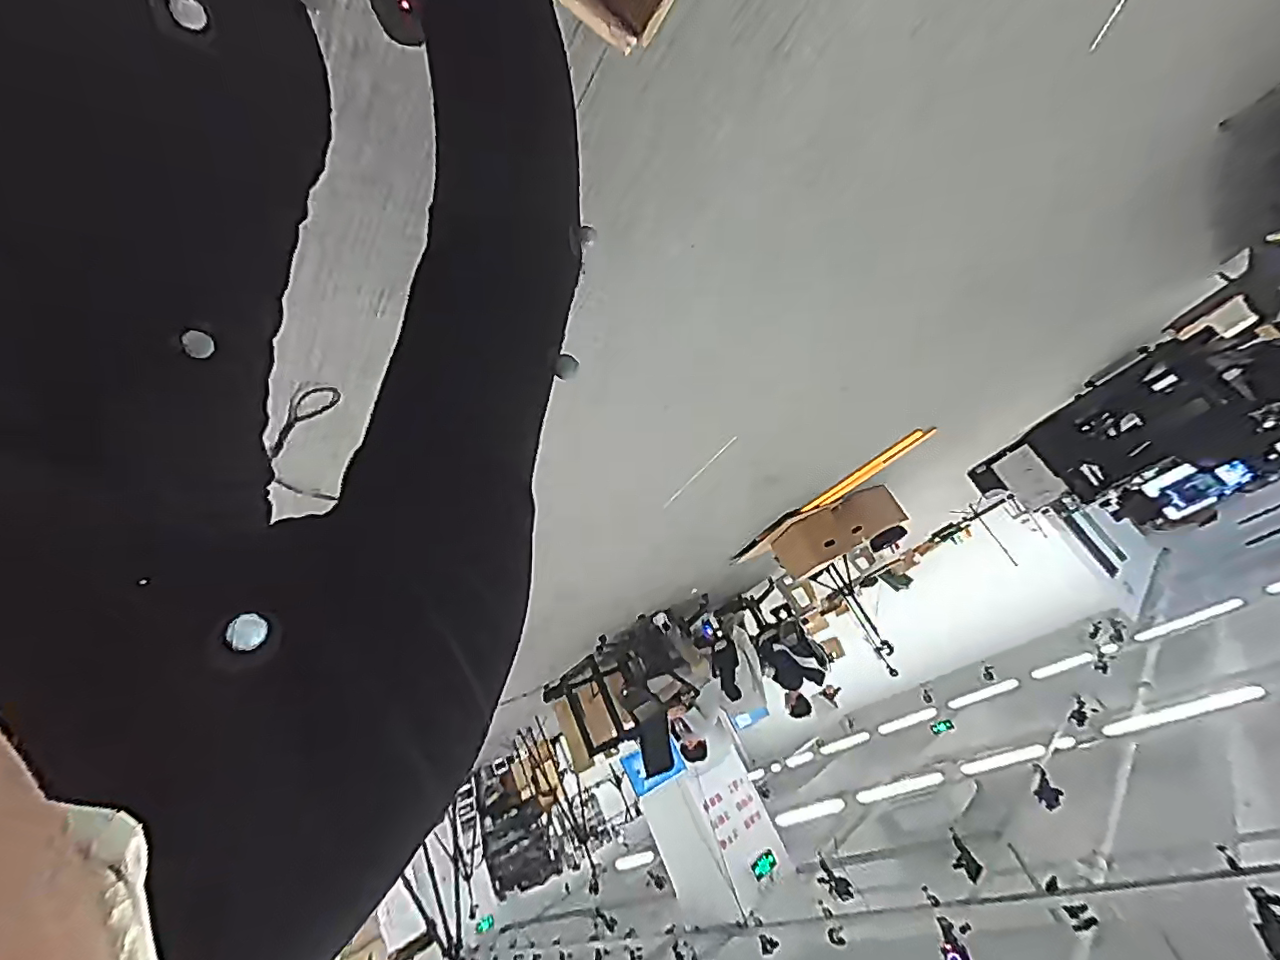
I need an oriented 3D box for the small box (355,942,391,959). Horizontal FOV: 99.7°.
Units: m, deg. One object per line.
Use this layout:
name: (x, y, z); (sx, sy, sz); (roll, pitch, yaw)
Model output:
small box: (-0.702, 1.273, 1.323); (0.168, 0.176, 0.179); (-6, 150, -43)
